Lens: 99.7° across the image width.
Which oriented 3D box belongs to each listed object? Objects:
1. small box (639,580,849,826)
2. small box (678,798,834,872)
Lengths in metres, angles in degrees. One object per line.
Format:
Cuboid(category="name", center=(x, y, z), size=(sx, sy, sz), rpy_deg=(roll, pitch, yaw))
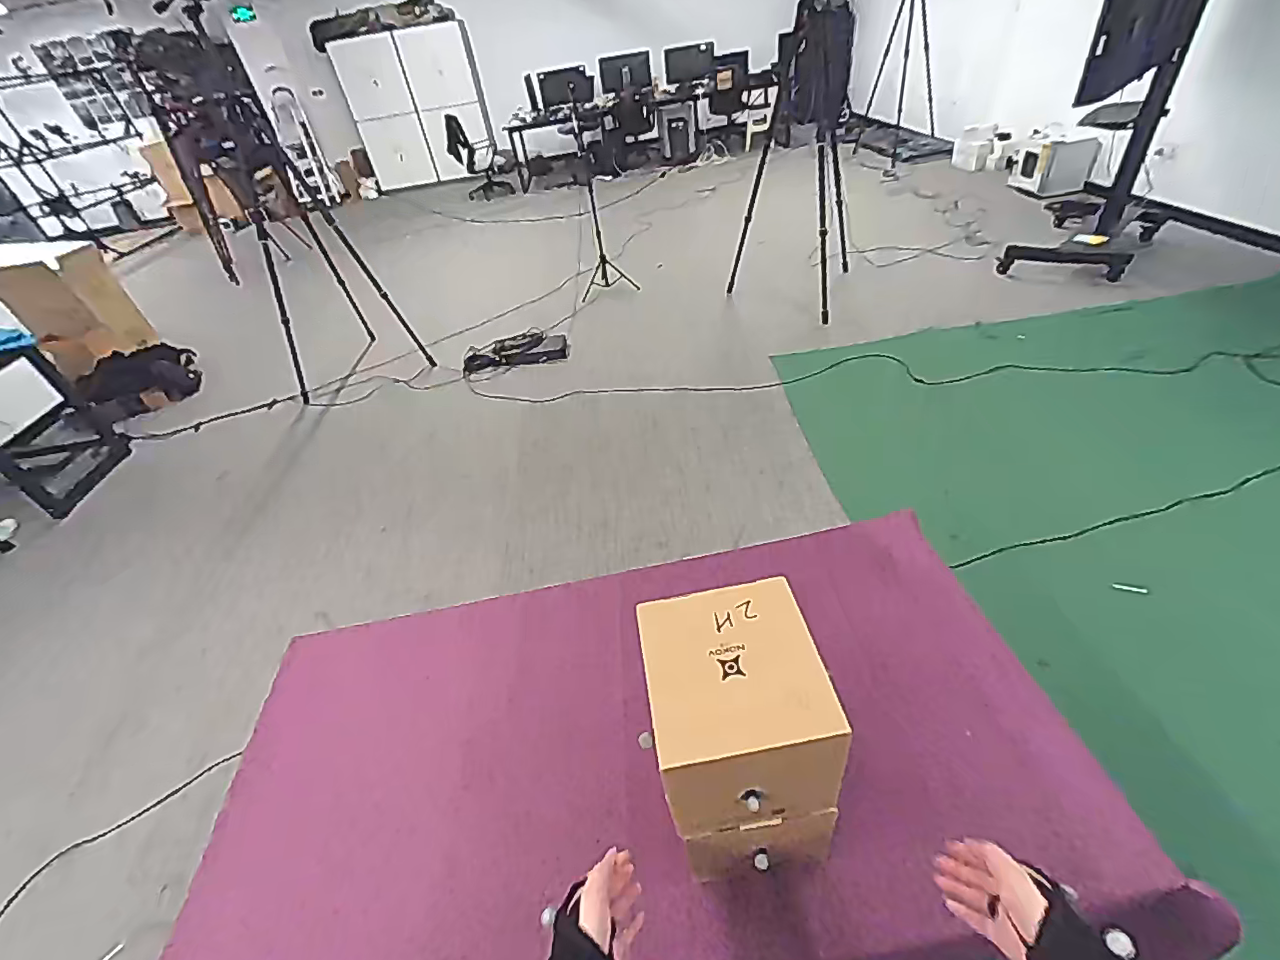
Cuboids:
Cuboid(category="small box", center=(0.099, 0.236, 0.566), size=(0.168, 0.176, 0.179), rpy_deg=(-10, 40, 0))
Cuboid(category="small box", center=(0.125, 0.361, 0.672), size=(0.168, 0.176, 0.179), rpy_deg=(-10, 41, 0))
